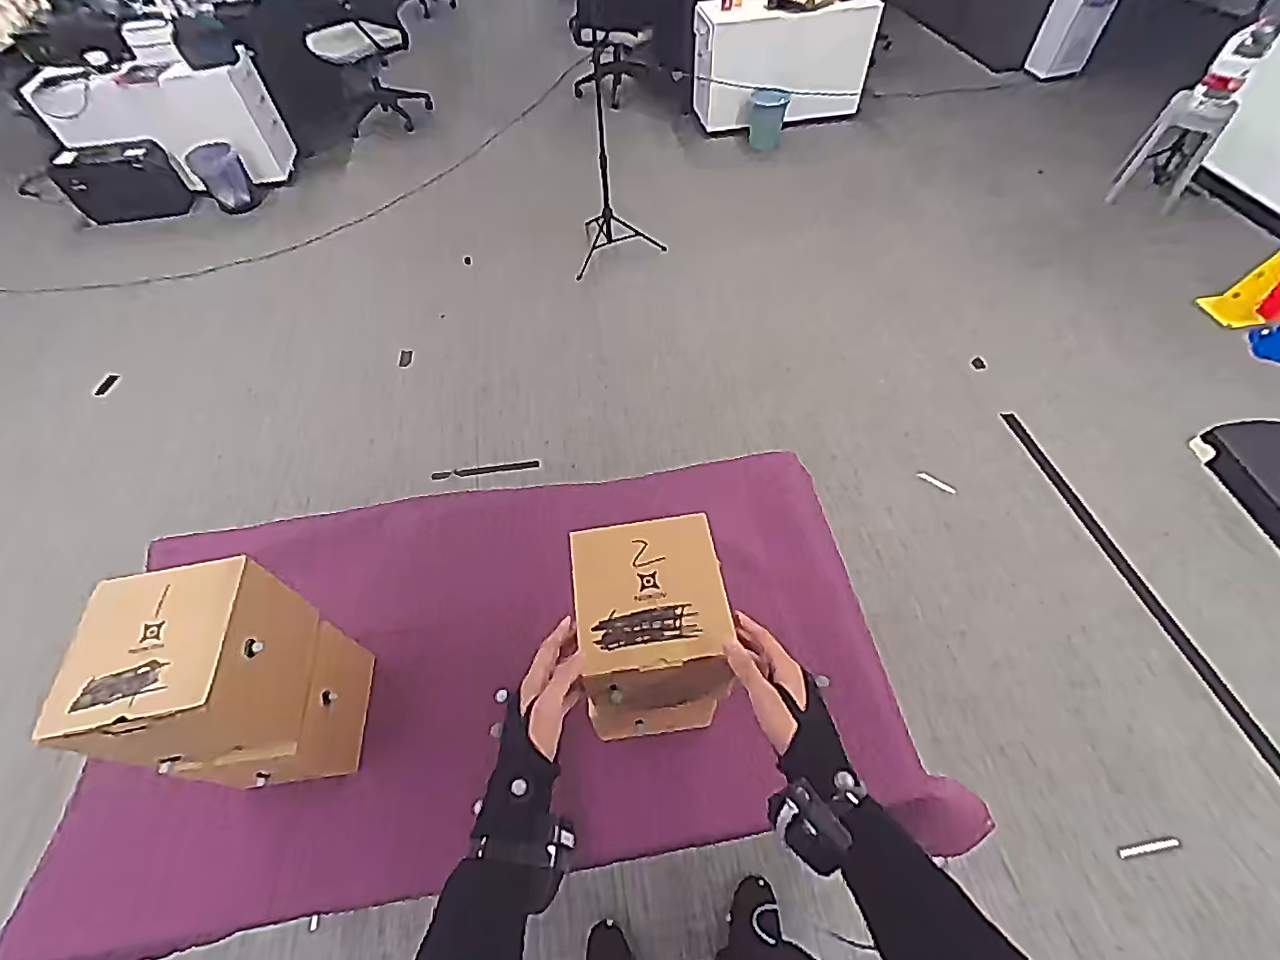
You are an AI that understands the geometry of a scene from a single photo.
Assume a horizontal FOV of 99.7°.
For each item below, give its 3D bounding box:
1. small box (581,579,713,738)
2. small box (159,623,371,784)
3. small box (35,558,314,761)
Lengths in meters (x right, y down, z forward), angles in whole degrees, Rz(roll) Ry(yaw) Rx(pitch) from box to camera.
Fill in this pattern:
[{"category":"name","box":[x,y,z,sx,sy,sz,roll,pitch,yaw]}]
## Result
[{"category":"small box","box":[0.008,0.267,0.792,0.168,0.176,0.179,-7,54,-2]},{"category":"small box","box":[-0.508,0.323,0.769,0.168,0.176,0.179,-6,55,-3]},{"category":"small box","box":[-0.519,0.219,0.641,0.168,0.176,0.179,-10,54,-5]}]
